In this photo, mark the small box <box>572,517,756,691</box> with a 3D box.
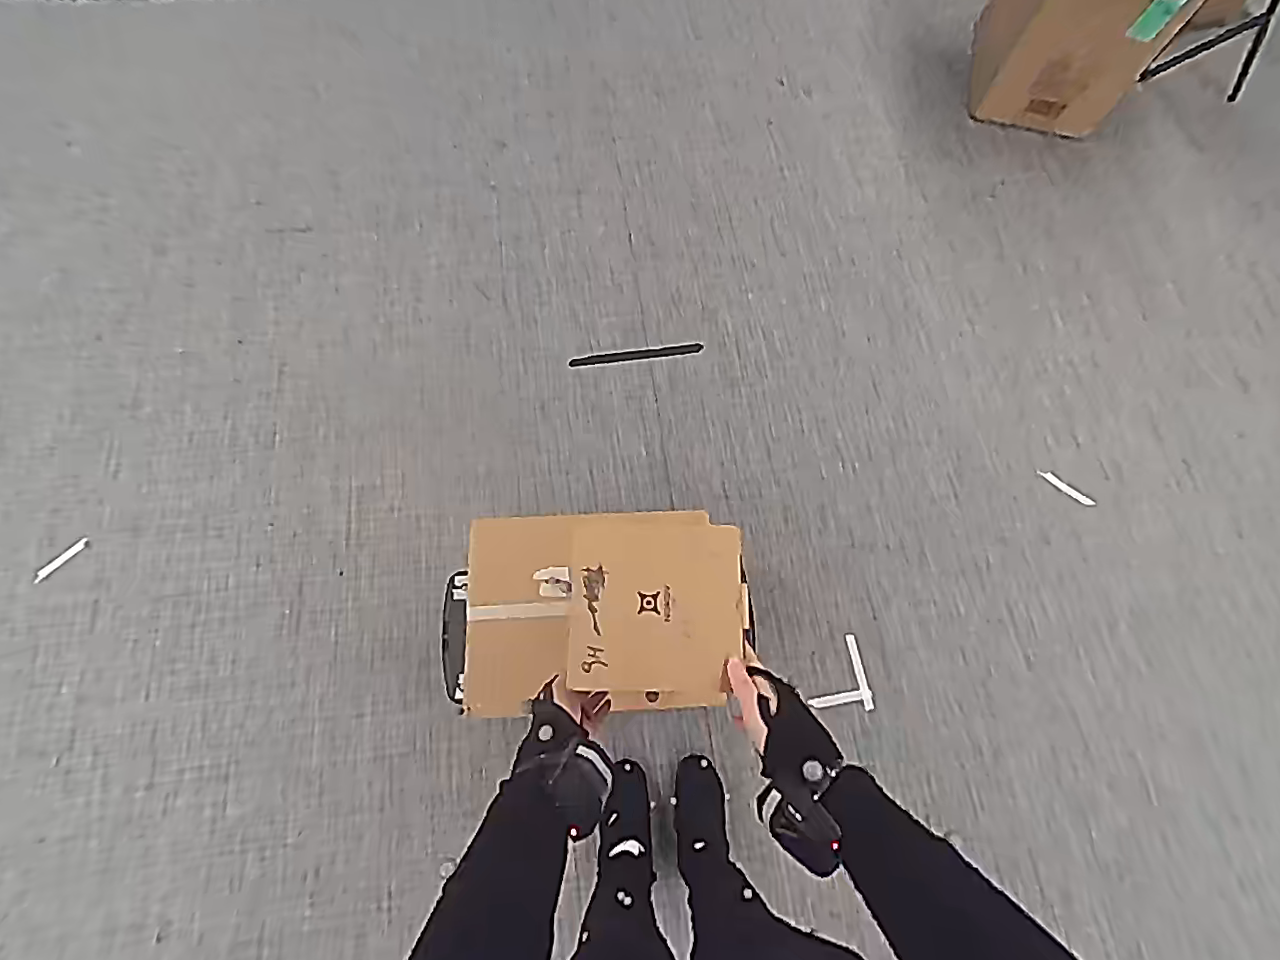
[{"bbox_3d":[0.023,0.143,0.607,0.179,0.176,0.168,1,71,-1],"label":"small box"}]

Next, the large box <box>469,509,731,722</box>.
[{"bbox_3d":[-0.068,0.252,1.002,0.408,0.320,0.320,-3,71,-1],"label":"large box"}]

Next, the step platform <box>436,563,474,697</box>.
[{"bbox_3d":[-0.099,0.333,1.225,0.684,0.204,0.286,-1,71,-1],"label":"step platform"}]
